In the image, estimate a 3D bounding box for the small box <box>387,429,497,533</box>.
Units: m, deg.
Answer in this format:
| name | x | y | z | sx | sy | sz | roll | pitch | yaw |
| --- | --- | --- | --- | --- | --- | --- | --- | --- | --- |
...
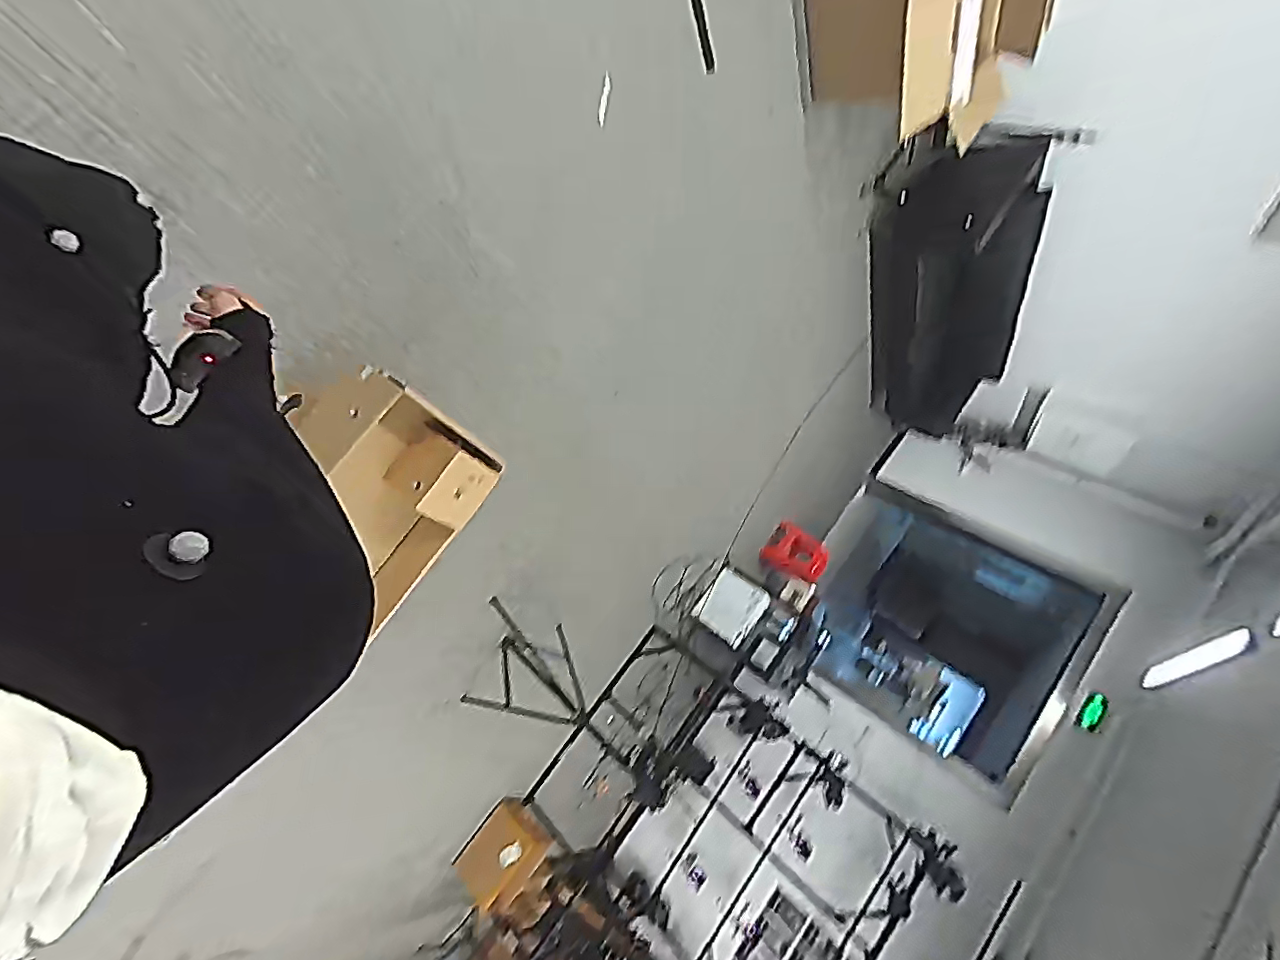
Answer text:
| name | x | y | z | sx | sy | sz | roll | pitch | yaw |
| --- | --- | --- | --- | --- | --- | --- | --- | --- | --- |
| small box | -0.511 | 0.002 | 1.379 | 0.179 | 0.176 | 0.168 | -55 | 147 | -7 |
